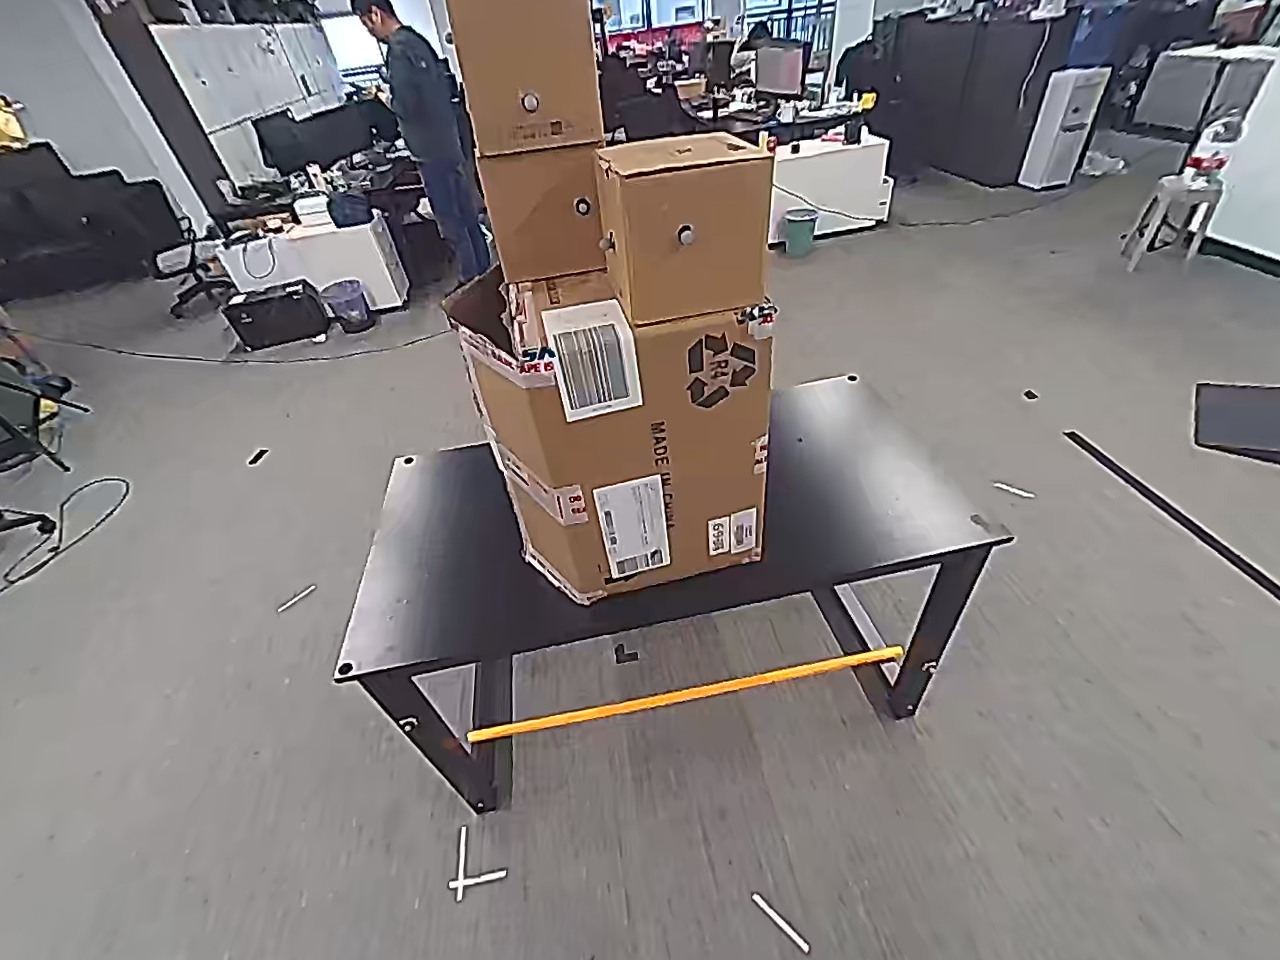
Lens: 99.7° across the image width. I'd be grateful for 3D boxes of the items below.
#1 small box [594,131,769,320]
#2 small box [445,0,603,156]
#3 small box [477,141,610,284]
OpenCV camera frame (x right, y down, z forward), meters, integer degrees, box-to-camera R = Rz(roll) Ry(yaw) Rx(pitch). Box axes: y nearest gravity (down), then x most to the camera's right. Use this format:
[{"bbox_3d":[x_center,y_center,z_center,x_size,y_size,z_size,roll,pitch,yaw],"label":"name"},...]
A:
[{"bbox_3d":[0.050,-0.322,0.689,0.179,0.176,0.168,-13,43,-6],"label":"small box"},{"bbox_3d":[-0.150,-0.544,0.723,0.168,0.176,0.179,-12,39,-6],"label":"small box"},{"bbox_3d":[-0.138,-0.419,0.830,0.179,0.176,0.168,-13,38,-6],"label":"small box"}]
